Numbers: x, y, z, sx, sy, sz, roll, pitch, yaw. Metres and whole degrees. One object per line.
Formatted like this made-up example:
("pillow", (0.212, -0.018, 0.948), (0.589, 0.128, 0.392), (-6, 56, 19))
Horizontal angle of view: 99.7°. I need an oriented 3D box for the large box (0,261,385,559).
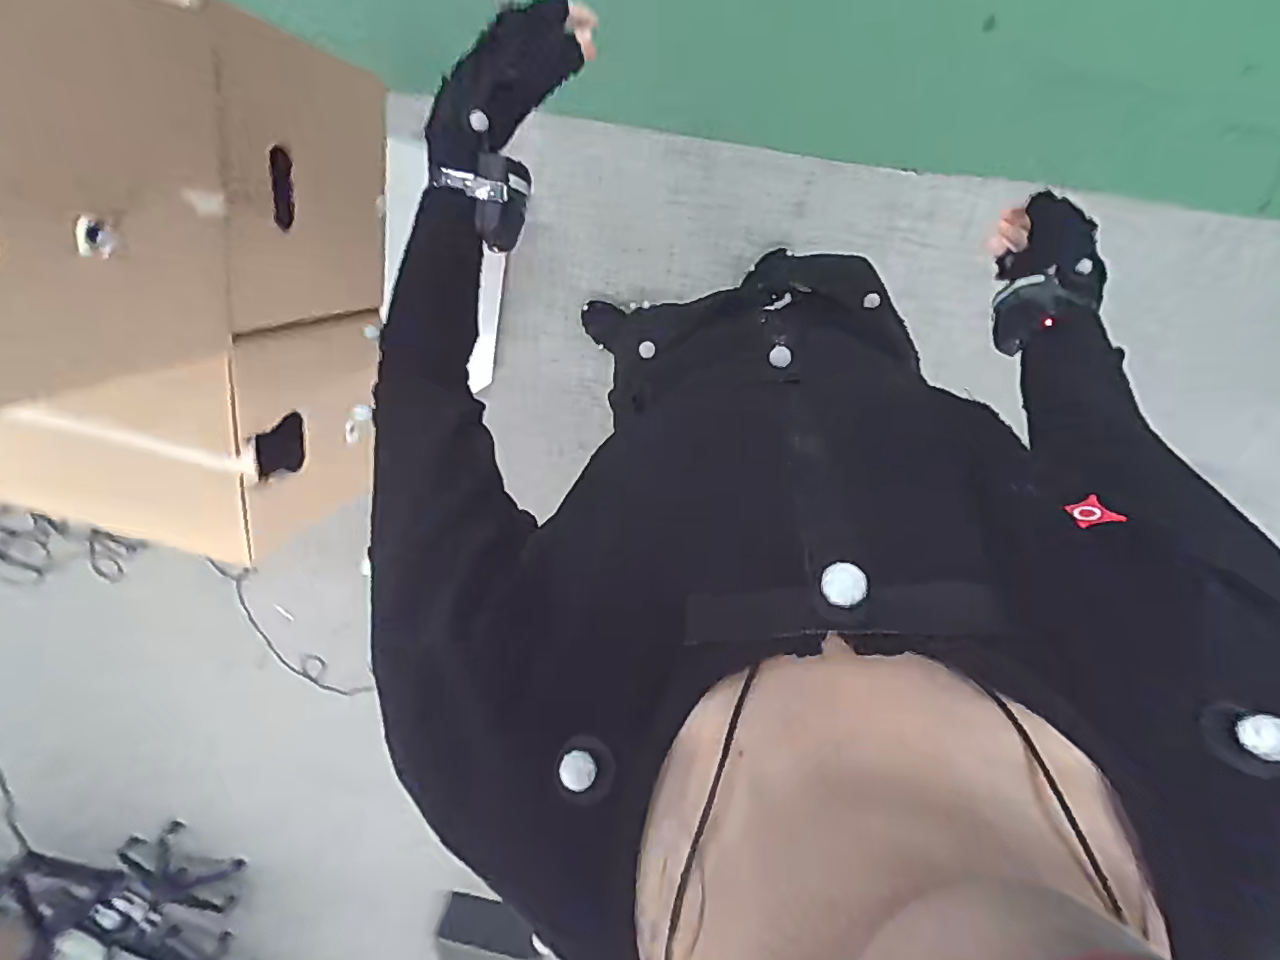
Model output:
("large box", (-0.657, -0.128, 0.817), (0.408, 0.320, 0.320), (14, 114, 3))
